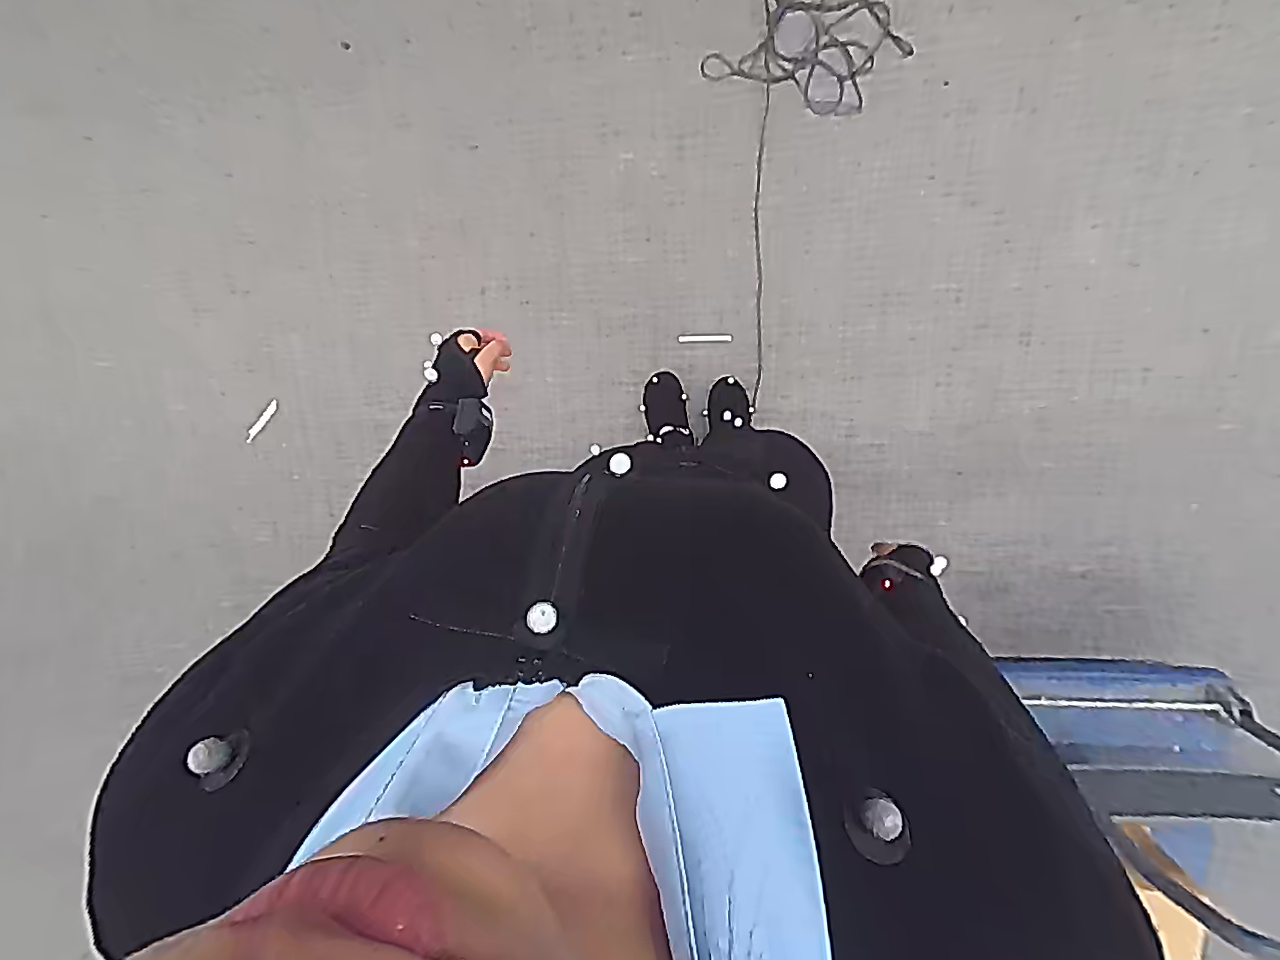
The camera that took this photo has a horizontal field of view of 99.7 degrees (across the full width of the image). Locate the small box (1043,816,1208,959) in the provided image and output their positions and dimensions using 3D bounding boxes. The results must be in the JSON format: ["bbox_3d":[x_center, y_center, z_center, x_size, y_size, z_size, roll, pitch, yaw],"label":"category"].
[{"bbox_3d":[0.972,0.821,1.098,0.179,0.176,0.168,1,100,8],"label":"small box"}]
